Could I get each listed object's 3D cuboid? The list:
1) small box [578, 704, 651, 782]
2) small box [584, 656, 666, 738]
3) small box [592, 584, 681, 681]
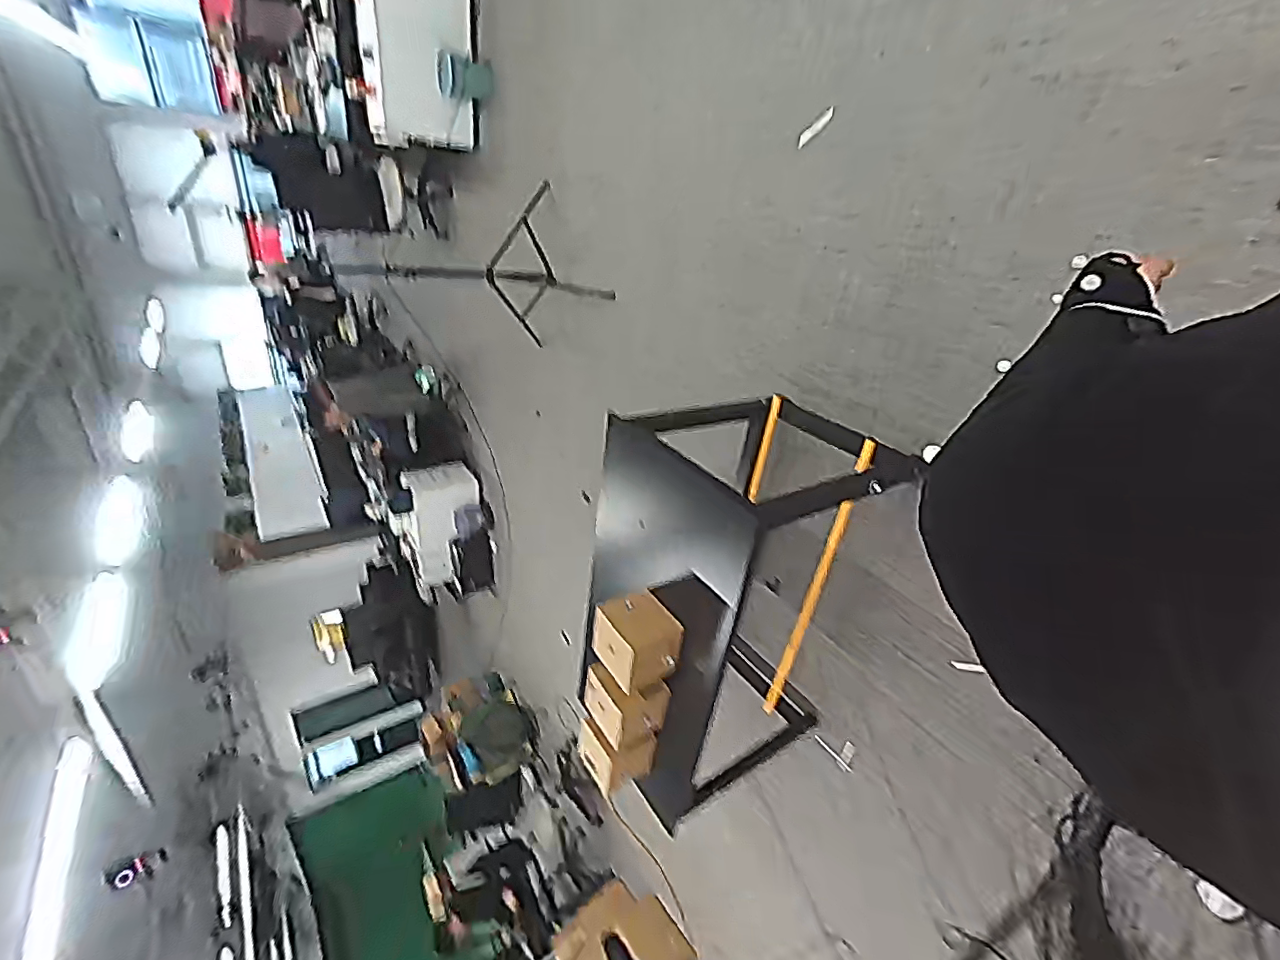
[{"bbox_3d":[-0.082,0.810,1.722,0.168,0.176,0.179,40,131,42],"label":"small box"},{"bbox_3d":[-0.045,0.614,1.603,0.179,0.176,0.168,40,131,42],"label":"small box"},{"bbox_3d":[-0.013,0.408,1.488,0.179,0.176,0.168,38,132,43],"label":"small box"}]
